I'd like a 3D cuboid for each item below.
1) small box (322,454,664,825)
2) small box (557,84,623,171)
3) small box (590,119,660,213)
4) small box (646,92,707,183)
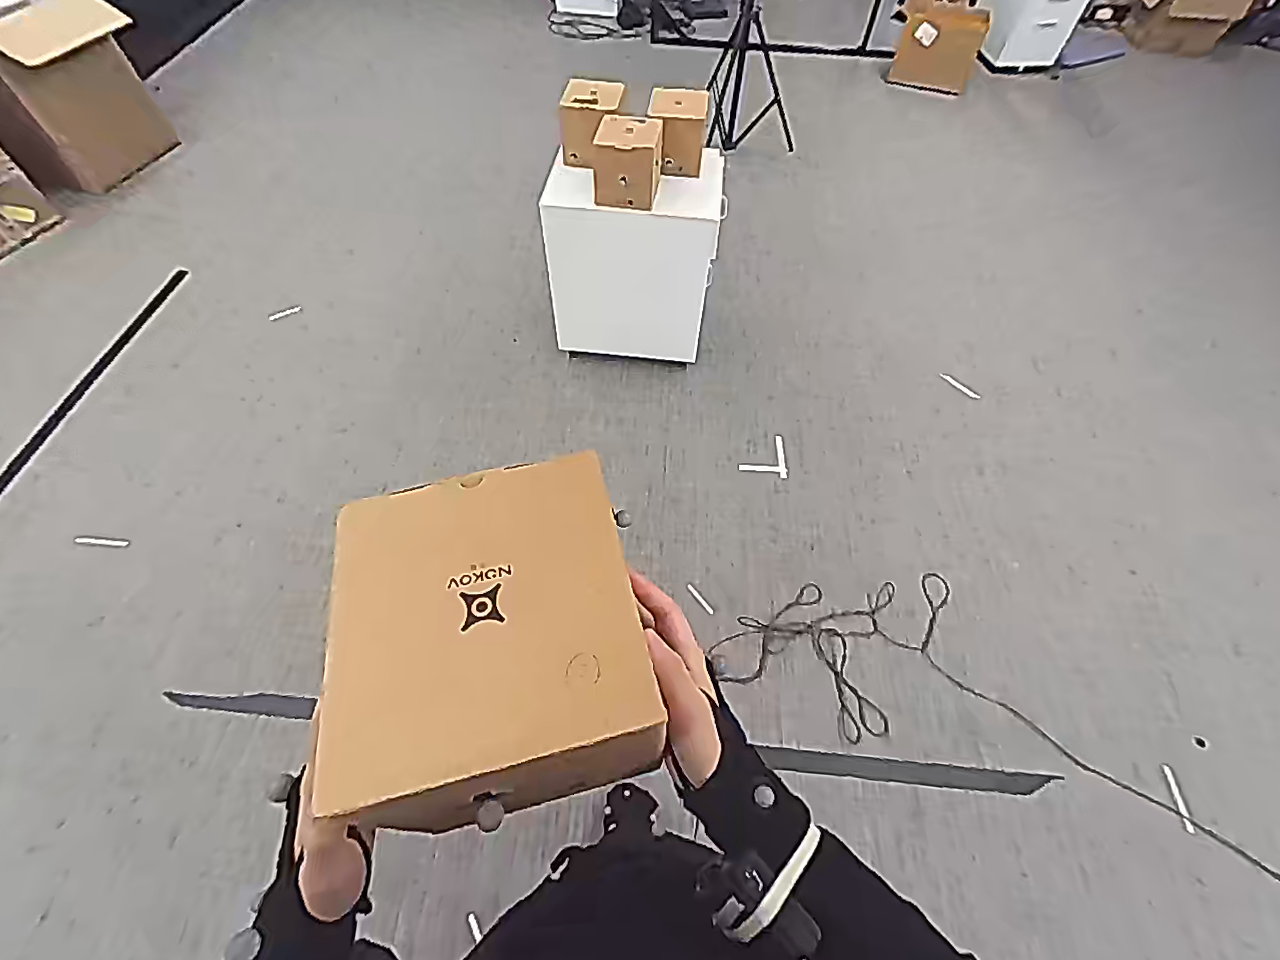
[{"bbox_3d":[-0.083,0.114,0.364,0.168,0.176,0.179,-12,54,-8],"label":"small box"},{"bbox_3d":[-0.144,-1.053,1.625,0.168,0.176,0.179,7,57,2],"label":"small box"},{"bbox_3d":[-0.038,-0.874,1.513,0.168,0.176,0.179,8,57,3],"label":"small box"},{"bbox_3d":[0.104,-1.022,1.616,0.168,0.176,0.179,5,59,3],"label":"small box"}]
